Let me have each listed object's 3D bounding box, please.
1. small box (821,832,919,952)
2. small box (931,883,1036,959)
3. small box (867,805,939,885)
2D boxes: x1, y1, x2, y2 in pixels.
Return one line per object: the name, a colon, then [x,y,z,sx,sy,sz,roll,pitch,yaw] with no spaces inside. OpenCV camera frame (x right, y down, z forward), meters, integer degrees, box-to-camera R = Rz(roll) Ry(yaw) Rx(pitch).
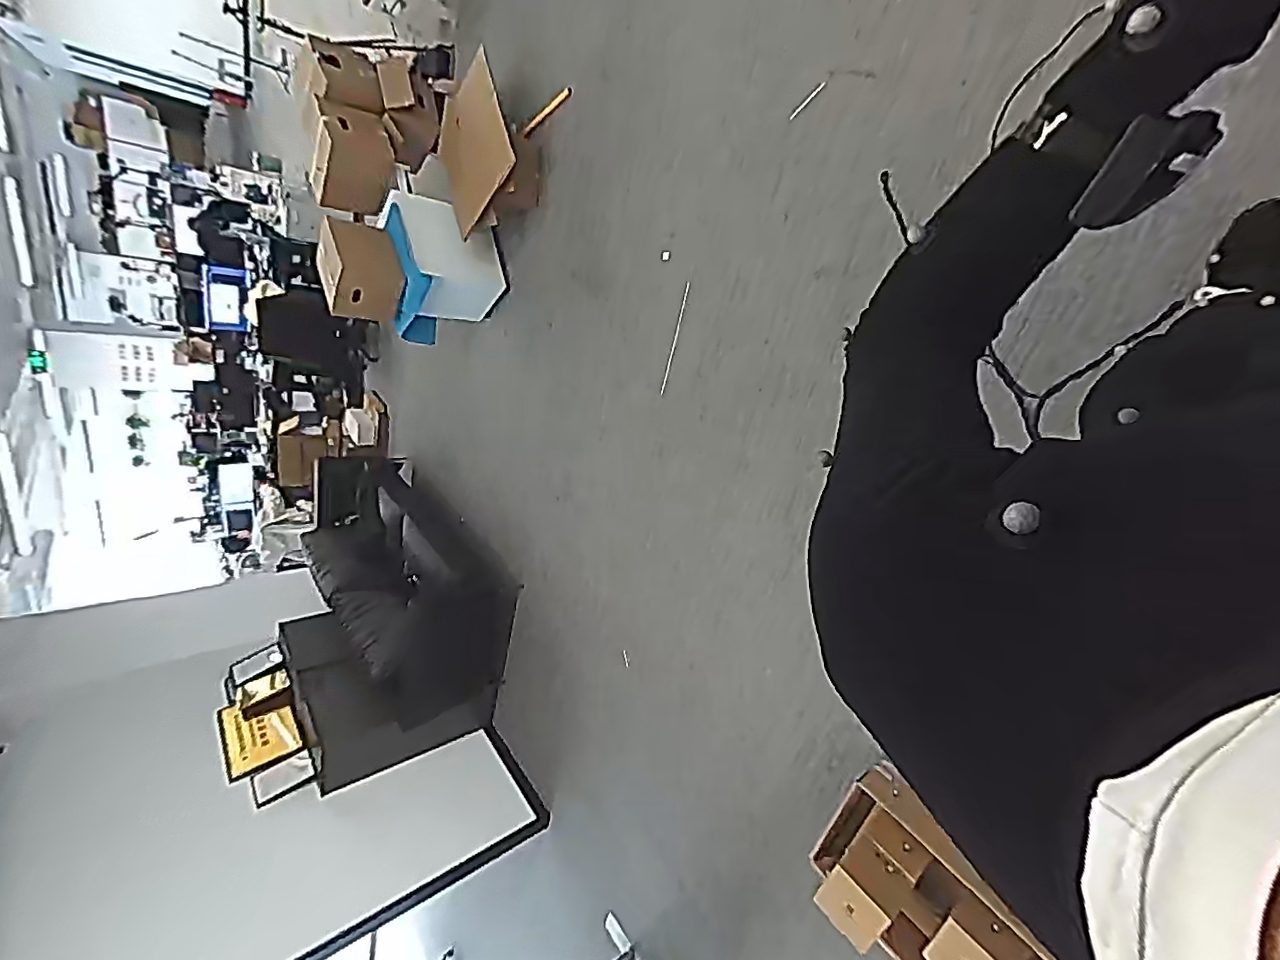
small box: [0.645,1.144,1.511,0.168,0.176,0.179,36,120,37]
small box: [0.927,1.243,1.451,0.168,0.176,0.179,35,119,41]
small box: [0.766,1.125,1.621,0.168,0.176,0.179,34,119,40]
